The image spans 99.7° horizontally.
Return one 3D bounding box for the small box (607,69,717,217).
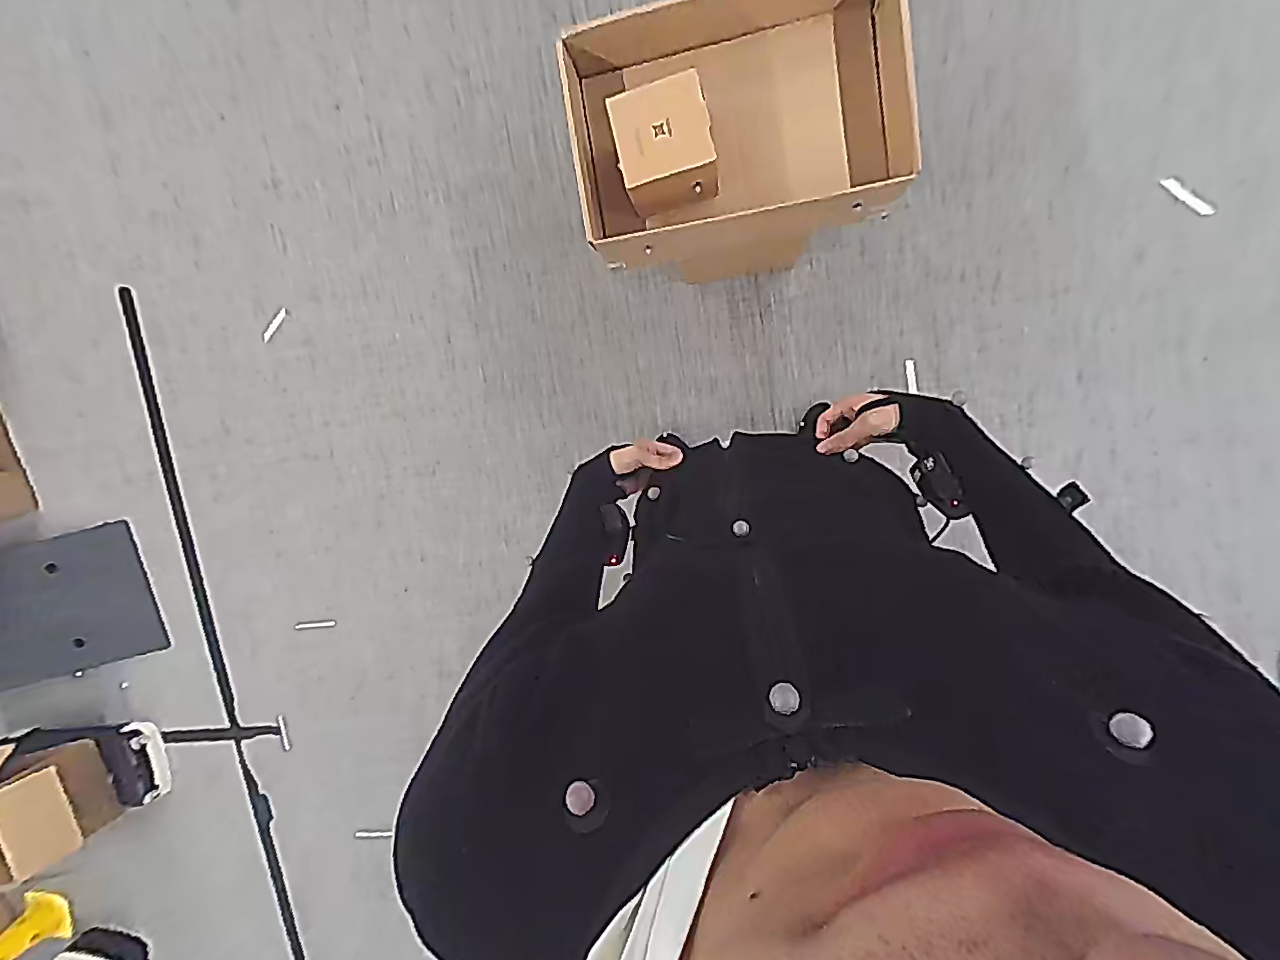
[{"bbox_3d":[0.050,-0.644,1.056,0.179,0.176,0.168,-12,95,11],"label":"small box"}]
